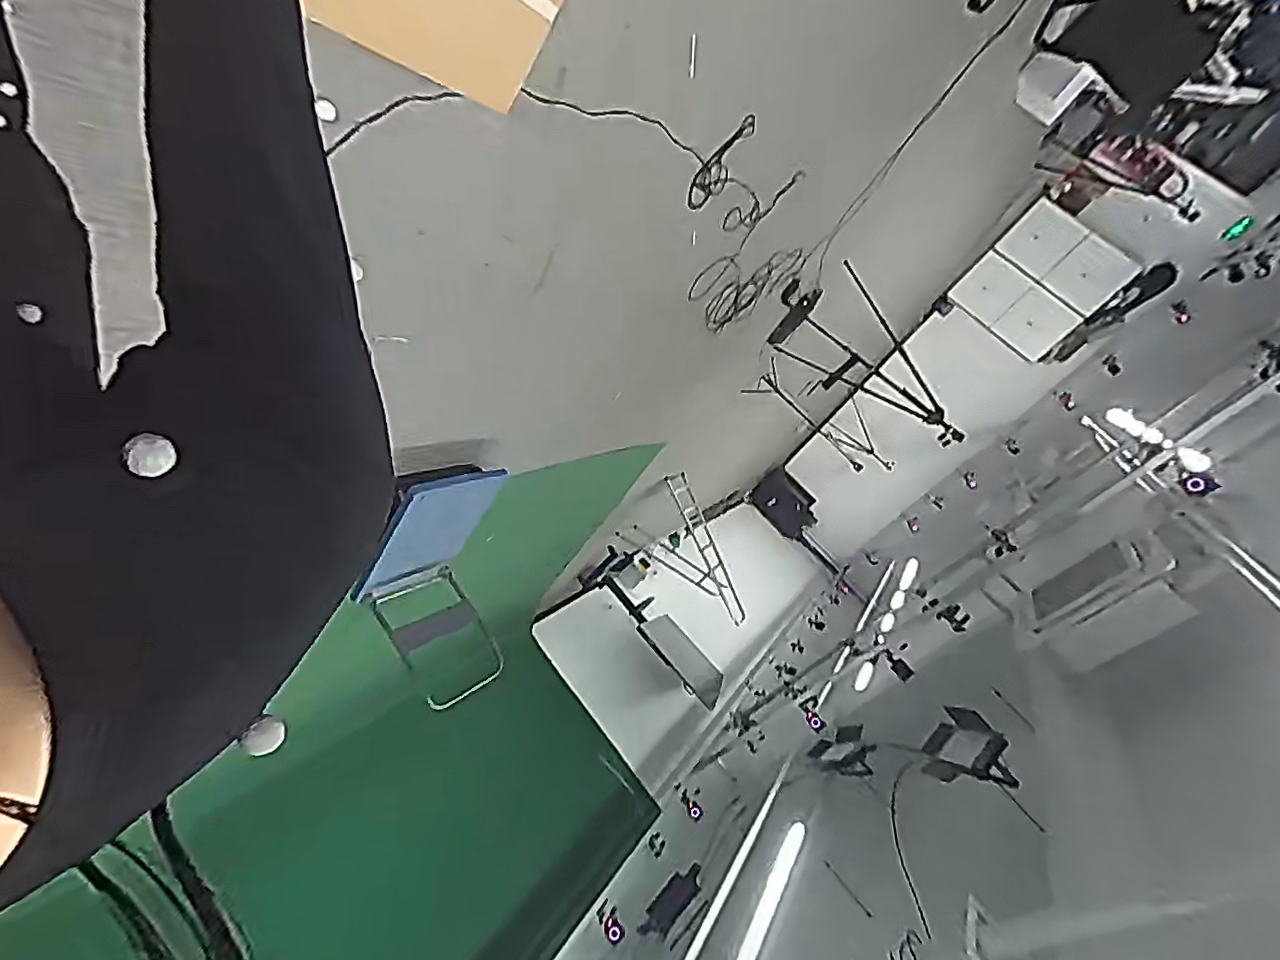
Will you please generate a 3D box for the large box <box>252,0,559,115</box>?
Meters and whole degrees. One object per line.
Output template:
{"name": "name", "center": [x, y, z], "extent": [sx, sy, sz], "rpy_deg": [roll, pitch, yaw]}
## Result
{"name": "large box", "center": [-0.327, -0.748, 0.653], "extent": [0.320, 0.320, 0.408], "rpy_deg": [-47, 164, 32]}
